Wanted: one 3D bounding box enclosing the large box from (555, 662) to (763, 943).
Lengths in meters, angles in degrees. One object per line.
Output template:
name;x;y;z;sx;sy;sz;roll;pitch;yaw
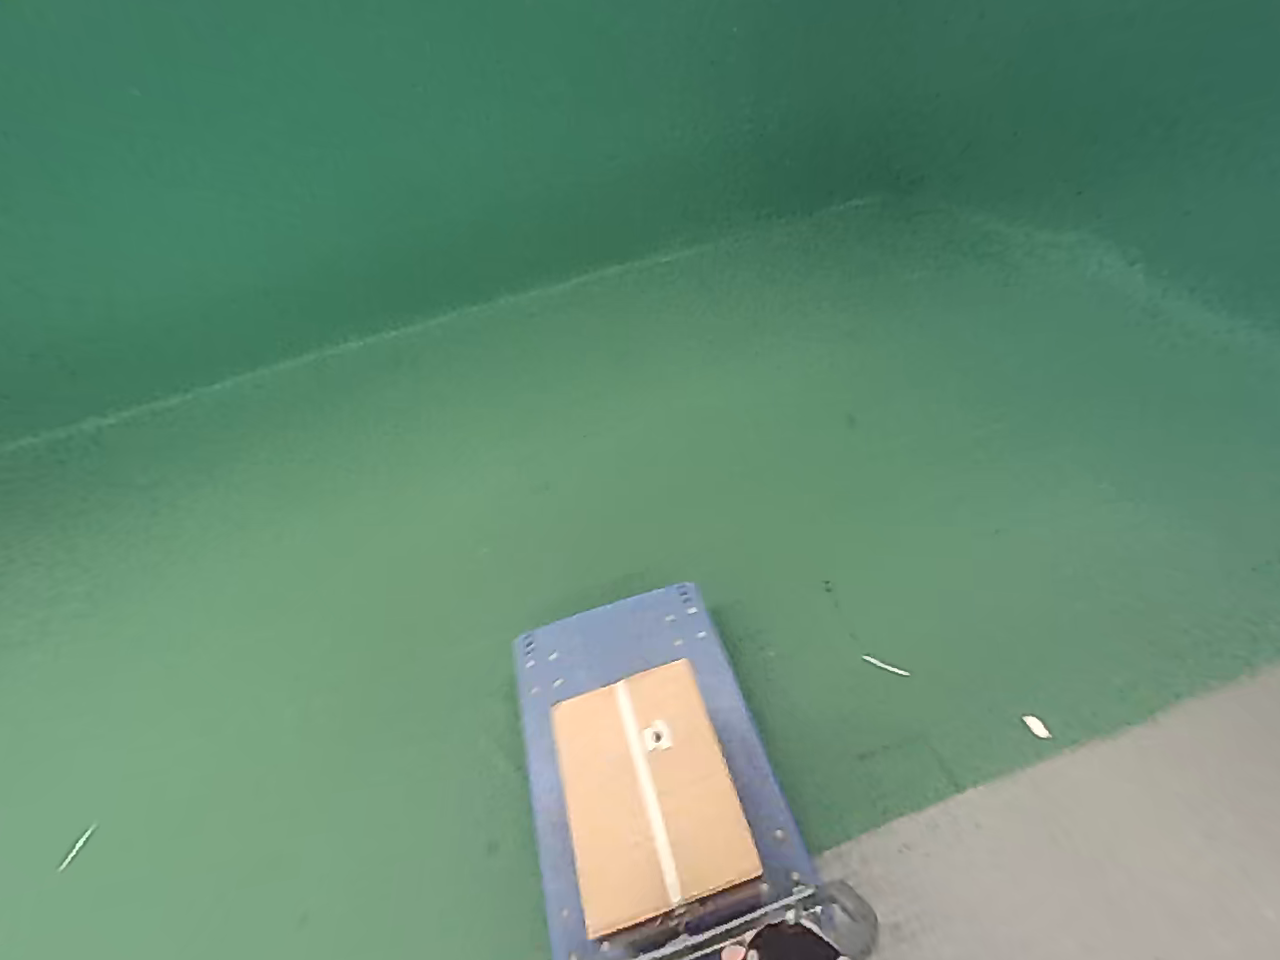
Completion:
large box;0.039;0.675;1.148;0.320;0.320;0.408;-17;47;-4
